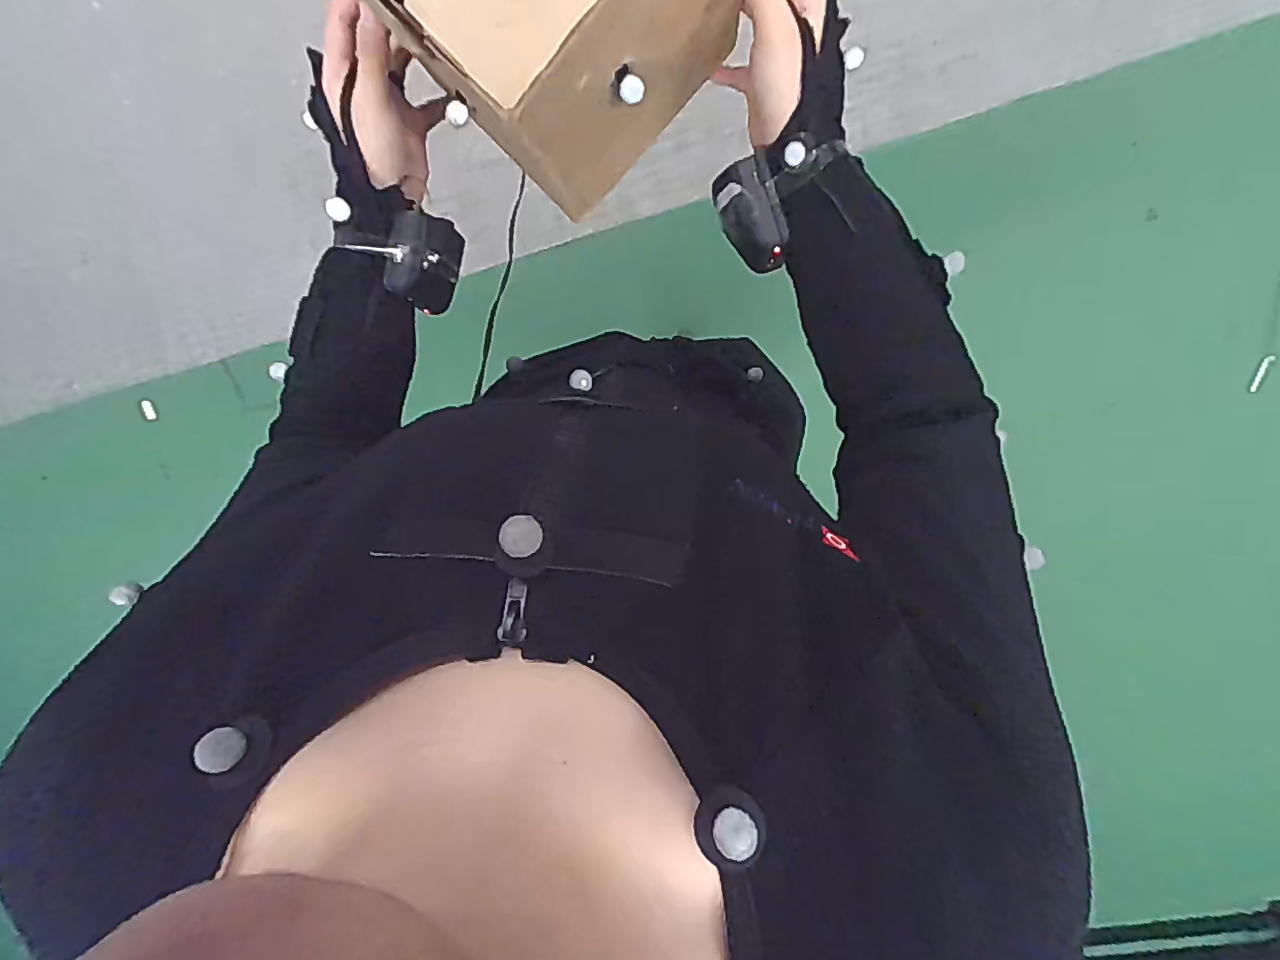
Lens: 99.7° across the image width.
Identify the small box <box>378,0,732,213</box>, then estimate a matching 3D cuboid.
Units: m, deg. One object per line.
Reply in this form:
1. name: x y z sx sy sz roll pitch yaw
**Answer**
1. small box: -0.052 -0.312 0.345 0.168 0.176 0.179 45 100 -1
